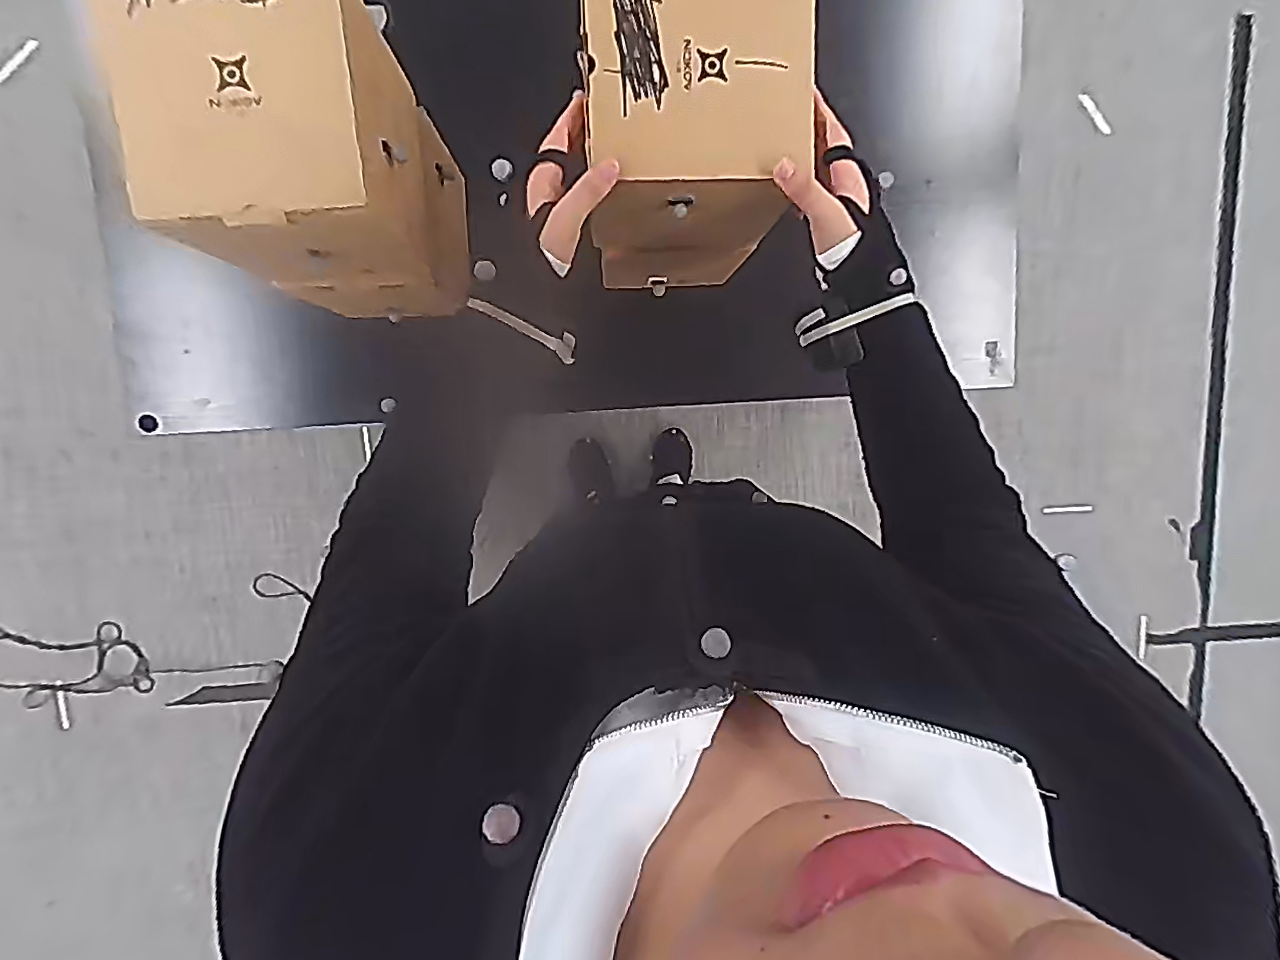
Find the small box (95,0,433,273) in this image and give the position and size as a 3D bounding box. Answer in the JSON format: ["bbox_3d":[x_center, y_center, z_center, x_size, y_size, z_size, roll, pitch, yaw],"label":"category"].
[{"bbox_3d":[-0.290,-0.284,0.461,0.168,0.176,0.179,-5,98,-4],"label":"small box"}]

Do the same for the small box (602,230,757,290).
[{"bbox_3d":[0.035,-0.340,0.646,0.168,0.176,0.179,-5,98,-2],"label":"small box"}]

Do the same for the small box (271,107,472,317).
[{"bbox_3d":[-0.300,-0.294,0.625,0.168,0.176,0.179,-2,97,-4],"label":"small box"}]

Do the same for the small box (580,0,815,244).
[{"bbox_3d":[0.041,-0.320,0.483,0.179,0.176,0.168,-3,98,-4],"label":"small box"}]
